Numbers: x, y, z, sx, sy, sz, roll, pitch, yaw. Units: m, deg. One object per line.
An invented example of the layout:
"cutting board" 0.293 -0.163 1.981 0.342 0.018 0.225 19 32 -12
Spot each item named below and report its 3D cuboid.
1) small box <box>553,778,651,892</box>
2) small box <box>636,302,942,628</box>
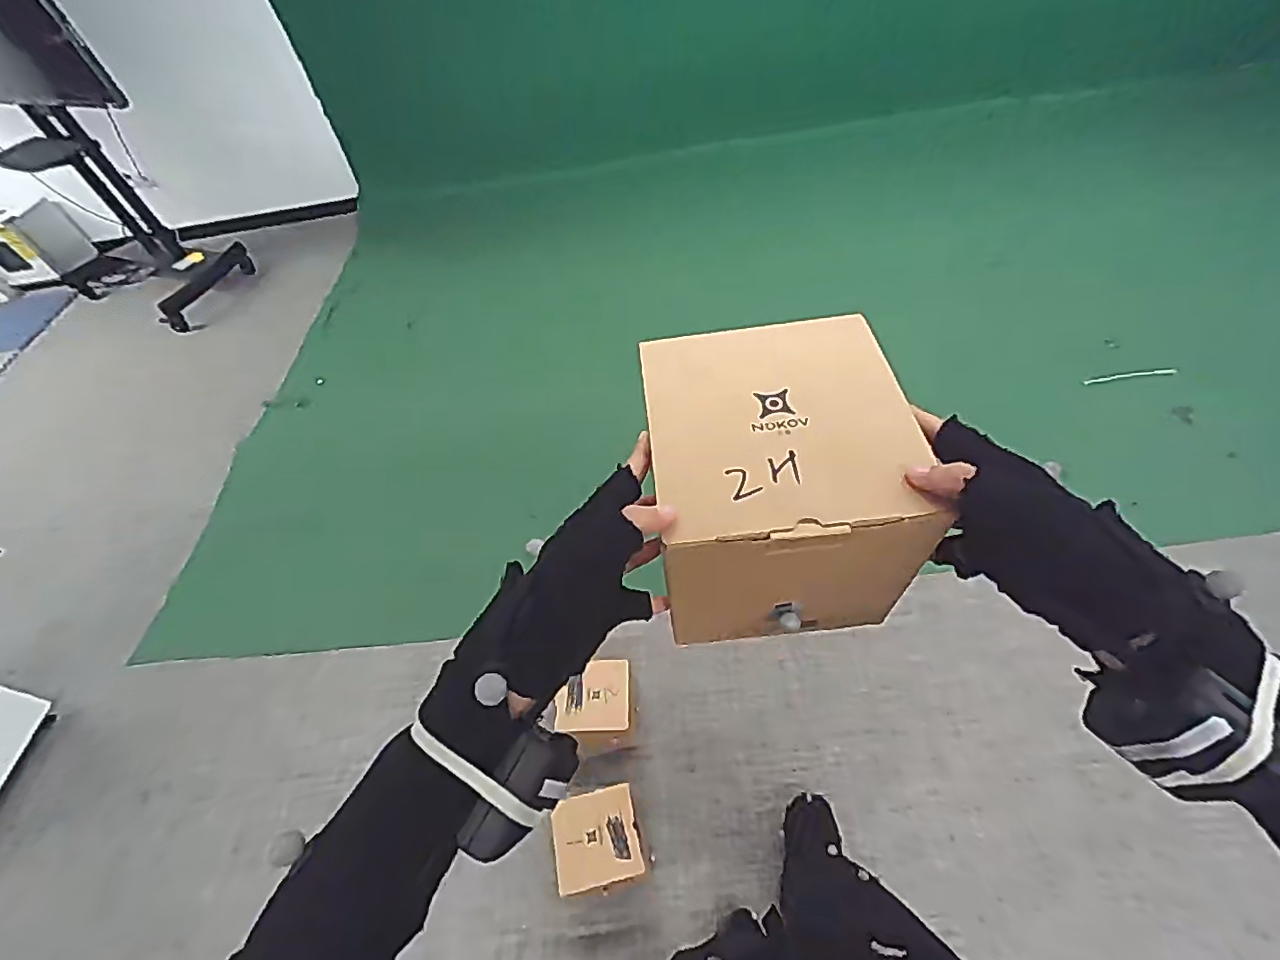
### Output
"small box" -0.077 0.768 1.168 0.179 0.176 0.168 -15 50 -2
"small box" 0.089 -0.006 0.414 0.168 0.176 0.179 -7 54 3
